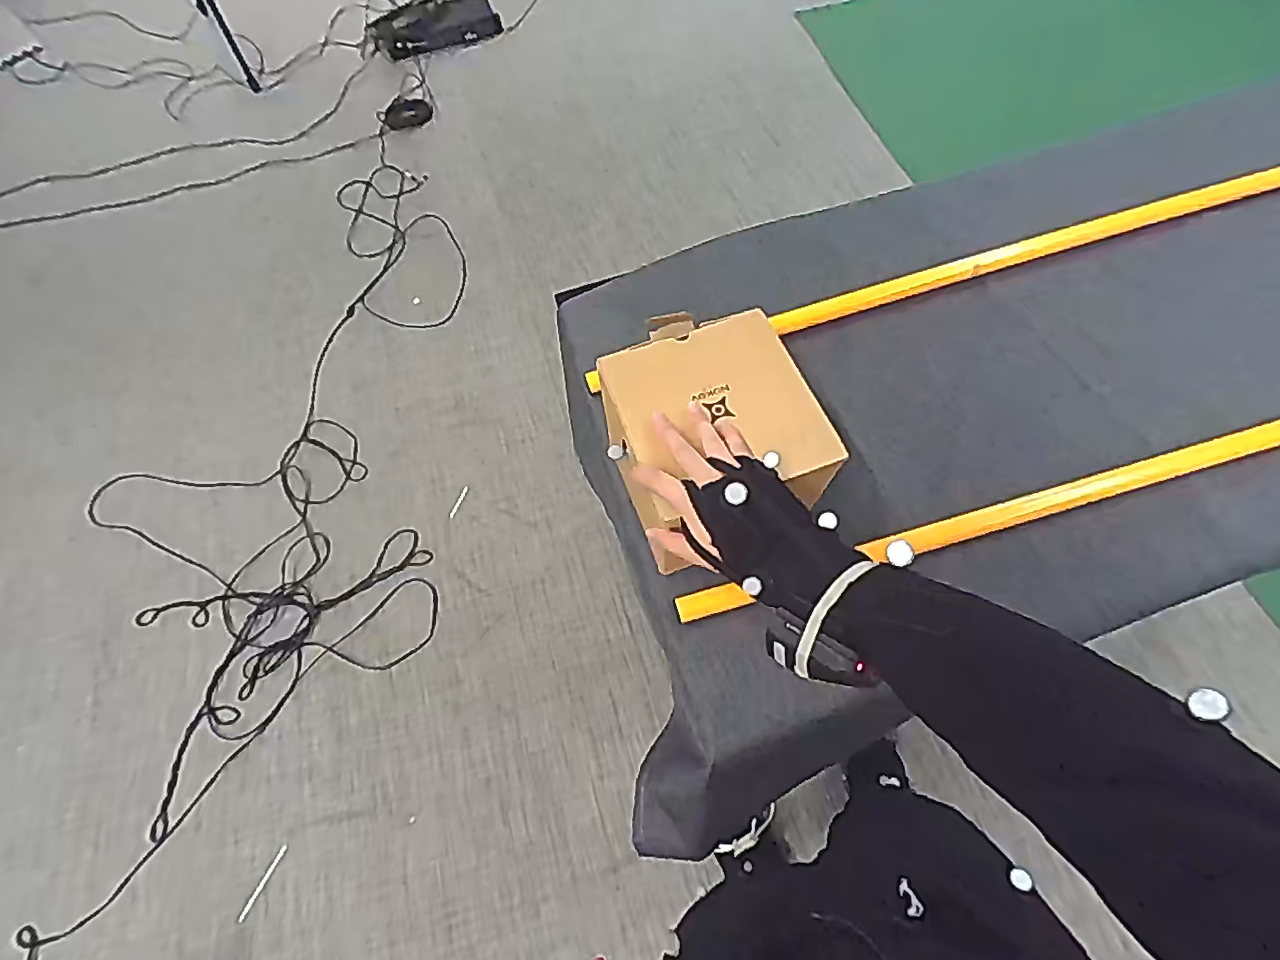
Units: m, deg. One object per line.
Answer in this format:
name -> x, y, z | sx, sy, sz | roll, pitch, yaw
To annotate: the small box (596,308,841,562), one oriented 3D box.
small box -> 0.068, -0.032, 0.543 | 0.168, 0.176, 0.179 | -19, 65, -6
